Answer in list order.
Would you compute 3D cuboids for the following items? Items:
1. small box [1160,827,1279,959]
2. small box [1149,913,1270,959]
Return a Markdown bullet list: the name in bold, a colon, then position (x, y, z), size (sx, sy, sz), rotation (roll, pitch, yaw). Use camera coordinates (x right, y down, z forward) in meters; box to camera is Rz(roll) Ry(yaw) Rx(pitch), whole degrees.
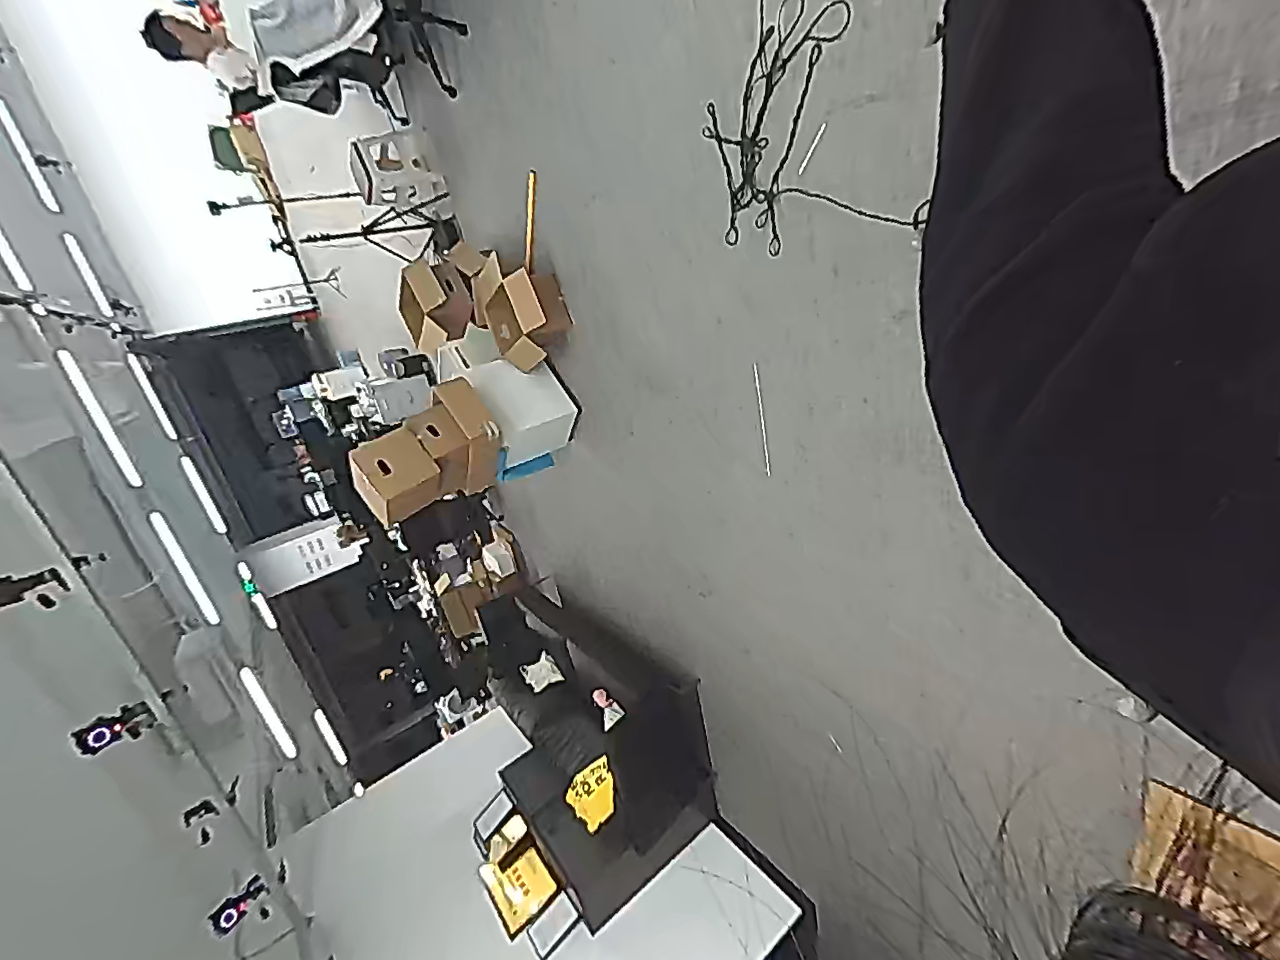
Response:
- **small box**: position (1.435, 1.007, 1.325), size (0.168, 0.176, 0.179), rotation (27, 133, 48)
- **small box**: position (1.493, 1.260, 1.420), size (0.168, 0.176, 0.179), rotation (33, 138, 43)
